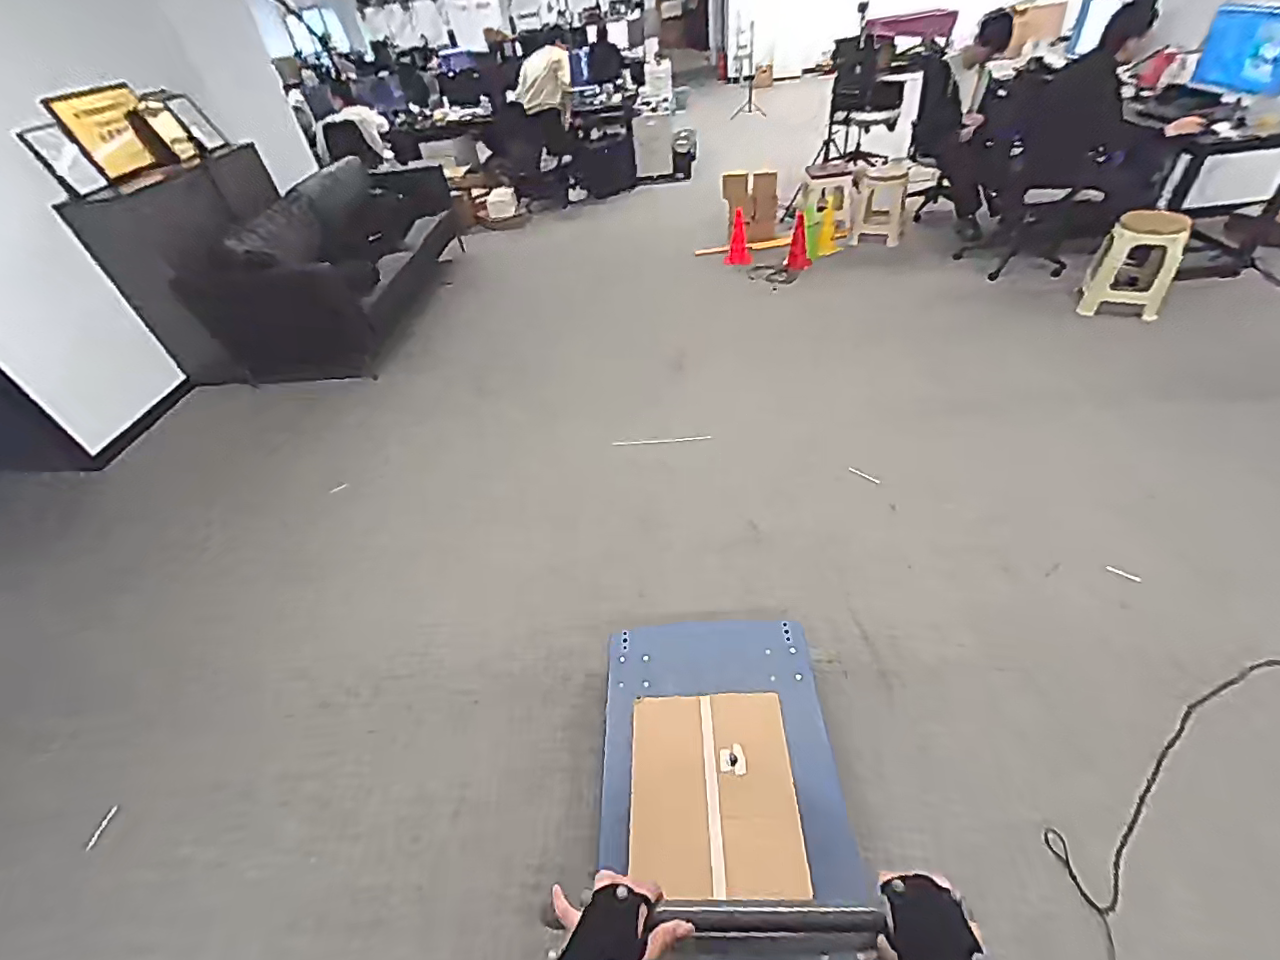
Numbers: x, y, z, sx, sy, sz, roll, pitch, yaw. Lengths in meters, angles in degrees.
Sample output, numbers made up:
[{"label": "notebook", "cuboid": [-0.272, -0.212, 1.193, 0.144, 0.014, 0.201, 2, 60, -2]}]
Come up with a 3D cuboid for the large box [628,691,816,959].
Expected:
[{"label": "large box", "cuboid": [0.151, 0.710, 1.125, 0.320, 0.320, 0.408, -4, 41, 4]}]
